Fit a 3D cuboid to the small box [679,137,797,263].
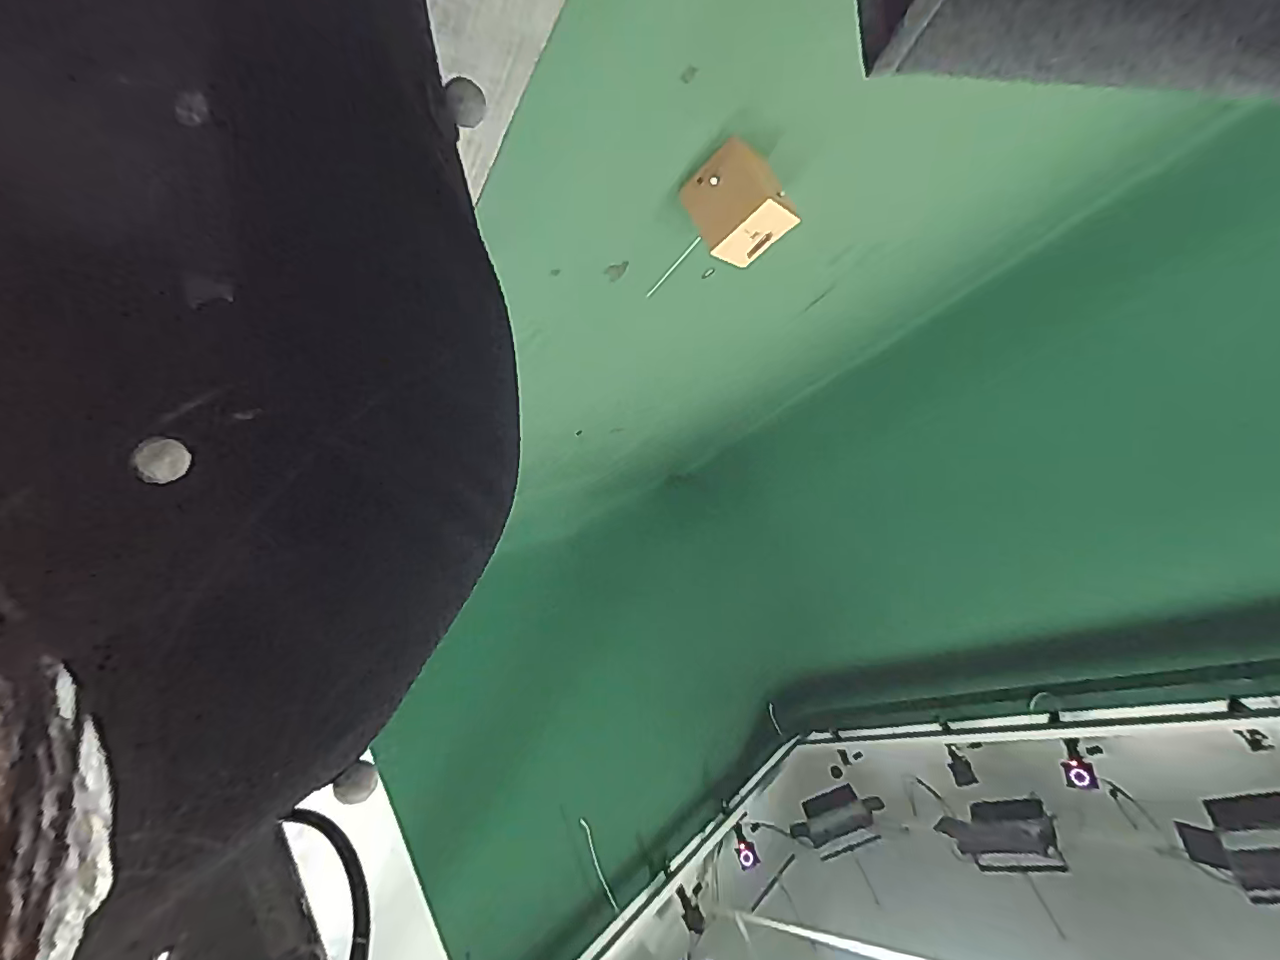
[{"bbox_3d":[0.219,-0.627,1.220,0.168,0.176,0.179,-33,168,35],"label":"small box"}]
